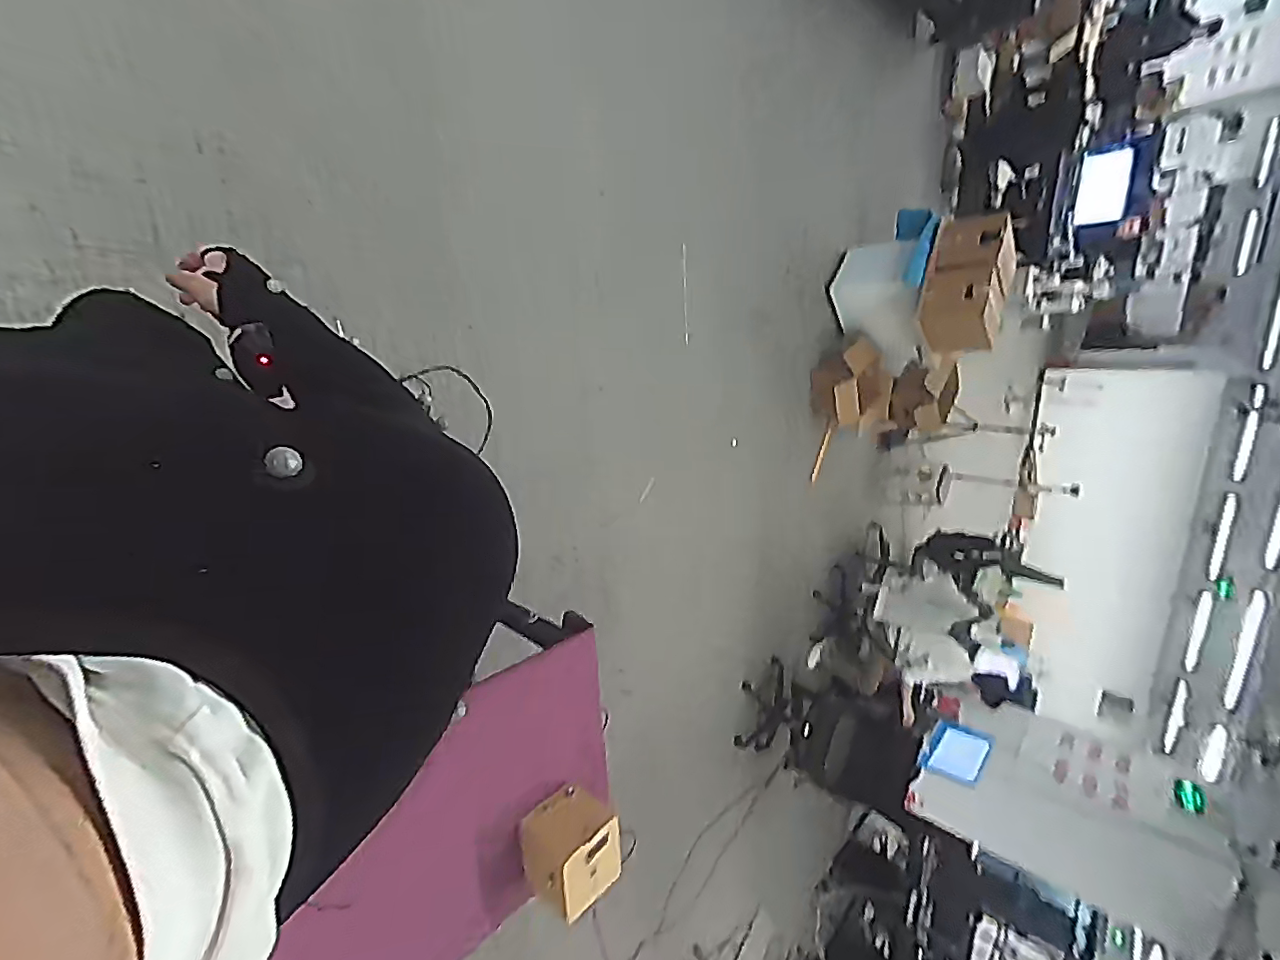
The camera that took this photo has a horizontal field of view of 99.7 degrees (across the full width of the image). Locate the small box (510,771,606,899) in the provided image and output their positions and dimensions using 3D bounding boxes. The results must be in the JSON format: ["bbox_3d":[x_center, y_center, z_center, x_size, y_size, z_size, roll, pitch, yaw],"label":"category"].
[{"bbox_3d":[-0.202,0.848,1.320,0.168,0.176,0.179,-17,112,-45],"label":"small box"}]
